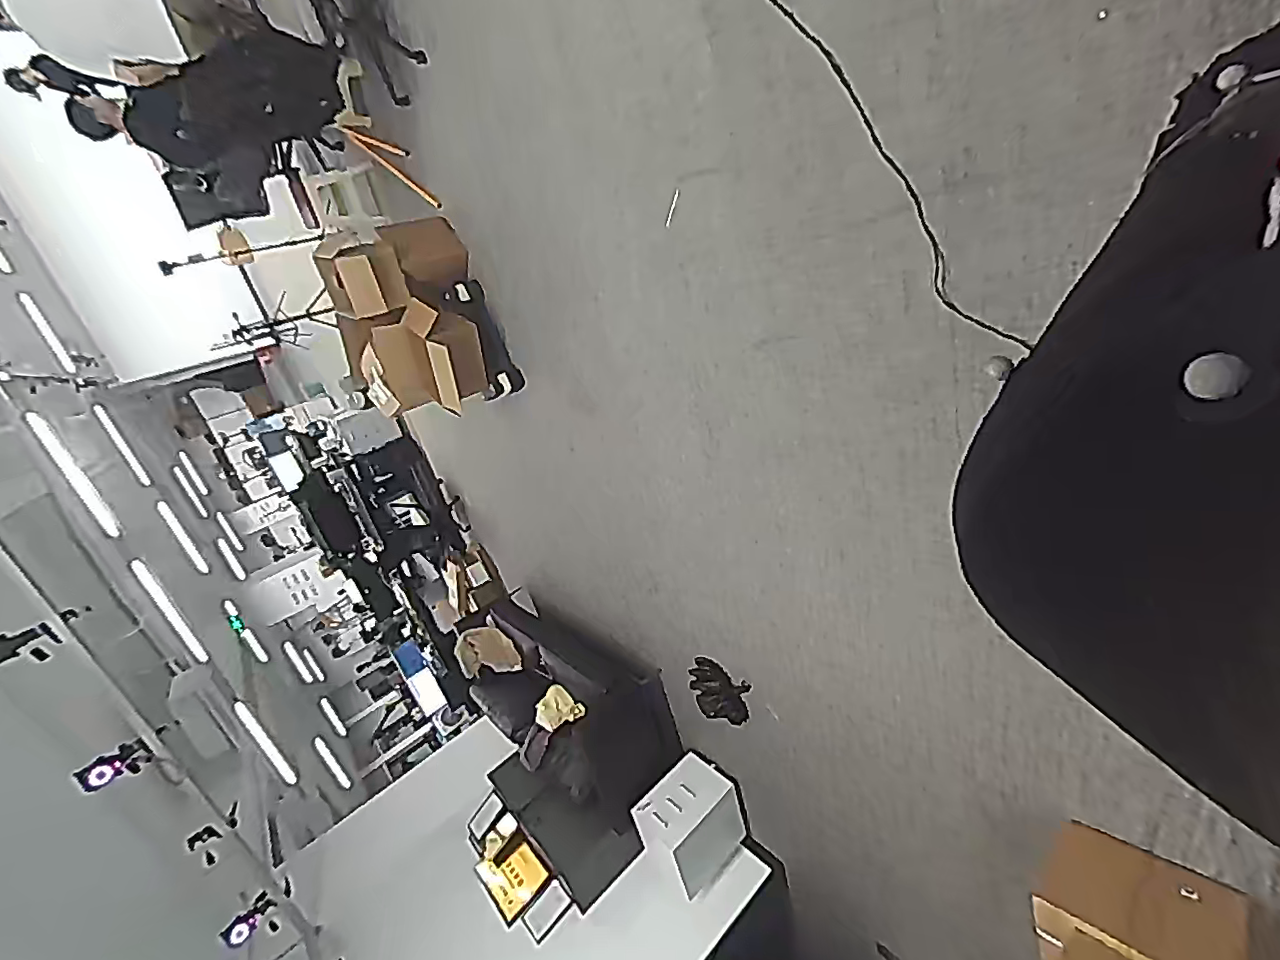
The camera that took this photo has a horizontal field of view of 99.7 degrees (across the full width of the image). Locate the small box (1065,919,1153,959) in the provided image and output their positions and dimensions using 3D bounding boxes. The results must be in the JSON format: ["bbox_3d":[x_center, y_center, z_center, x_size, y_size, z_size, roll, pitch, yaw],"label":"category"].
[{"bbox_3d":[1.247,1.330,1.427,0.179,0.176,0.168,8,121,54],"label":"small box"}]
